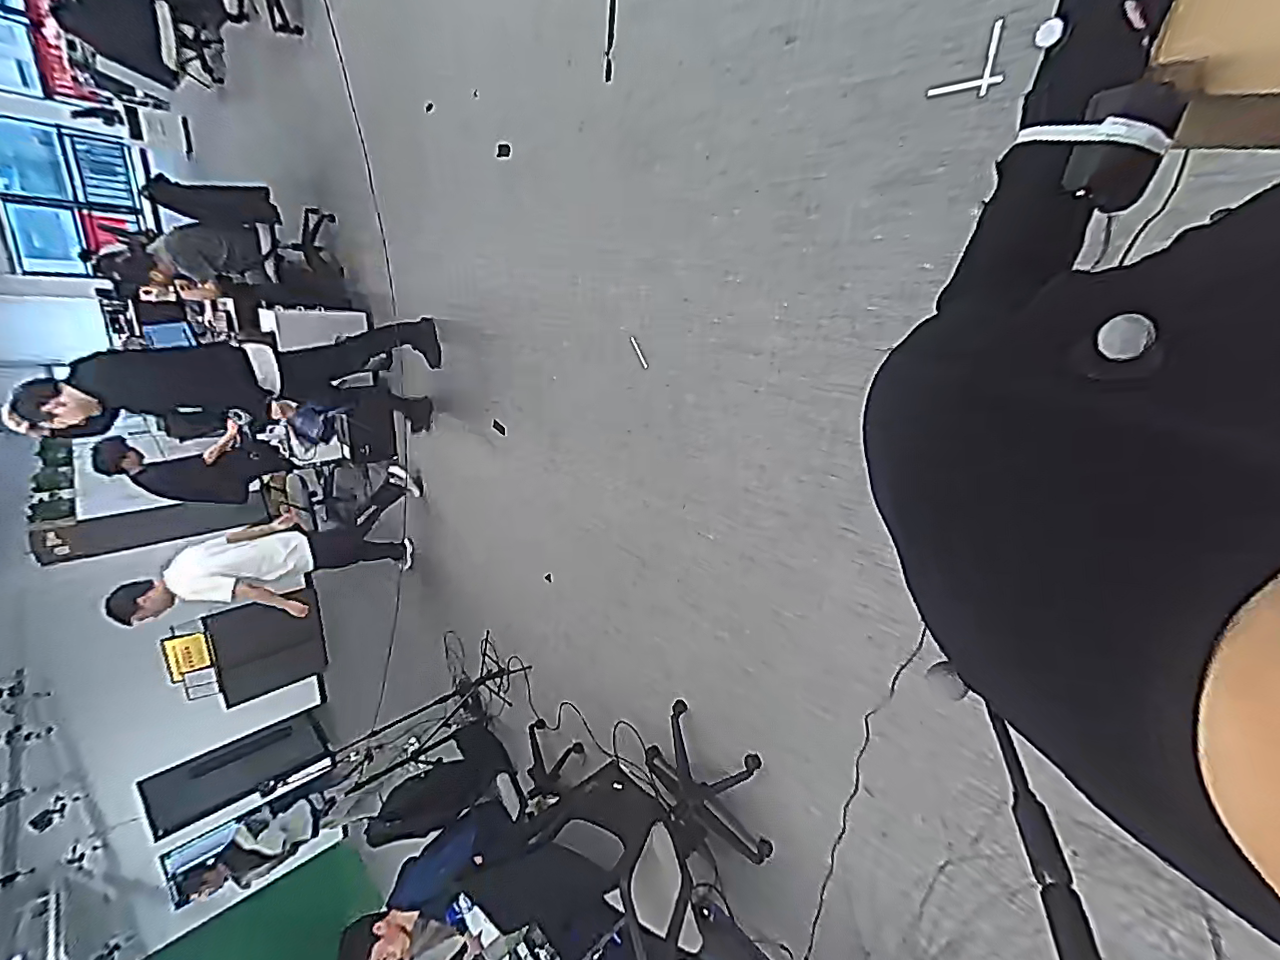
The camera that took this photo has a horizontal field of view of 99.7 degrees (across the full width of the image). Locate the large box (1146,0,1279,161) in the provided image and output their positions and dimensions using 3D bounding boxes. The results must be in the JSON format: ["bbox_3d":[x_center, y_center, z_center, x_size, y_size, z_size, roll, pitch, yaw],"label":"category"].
[{"bbox_3d":[0.599,-0.368,0.291,0.408,0.320,0.320,26,125,36],"label":"large box"}]
